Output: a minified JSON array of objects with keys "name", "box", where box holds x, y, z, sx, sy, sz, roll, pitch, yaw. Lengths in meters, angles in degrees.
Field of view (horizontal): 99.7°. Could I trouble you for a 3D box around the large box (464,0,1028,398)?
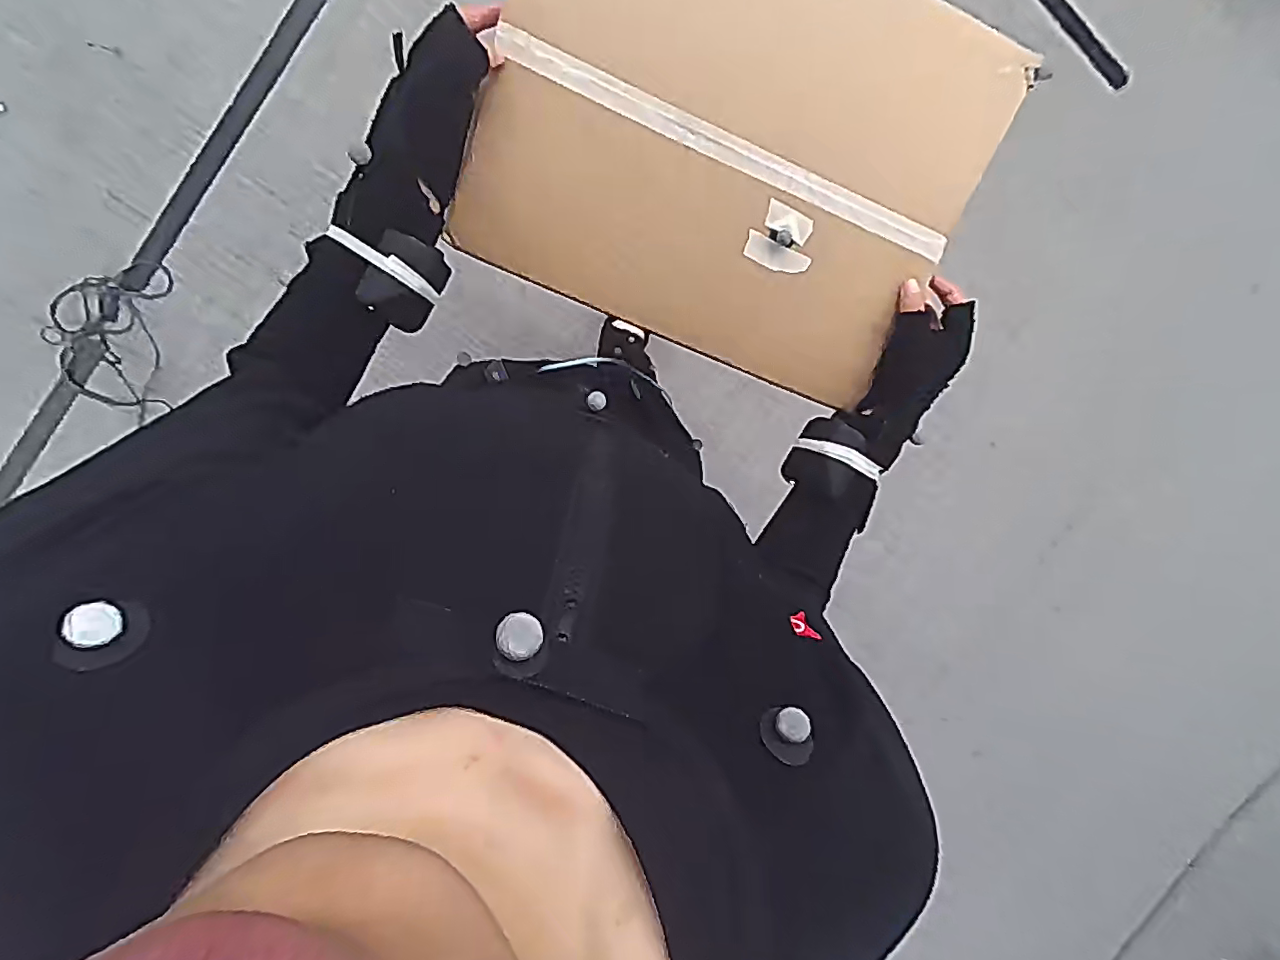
[{"name":"large box","box":[0.075,-0.325,0.596,0.408,0.320,0.320,21,107,-10]}]
